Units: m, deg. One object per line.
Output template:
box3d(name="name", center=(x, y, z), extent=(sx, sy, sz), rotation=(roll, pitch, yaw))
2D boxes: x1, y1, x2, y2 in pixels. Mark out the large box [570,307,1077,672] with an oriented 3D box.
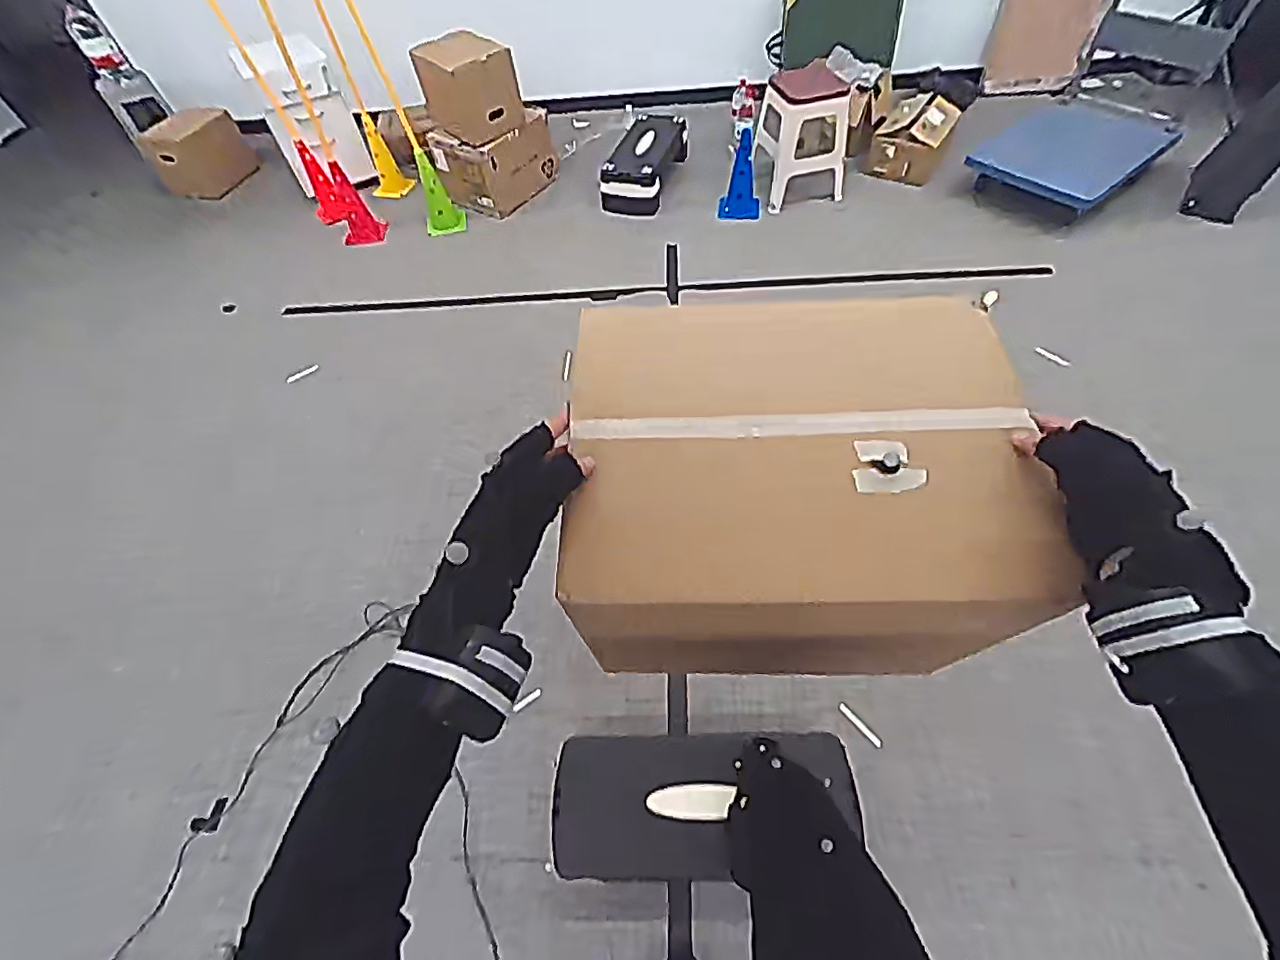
box3d(name="large box", center=(0.144, 0.030, 0.623), extent=(0.408, 0.320, 0.320), rotation=(-1, 61, 2))
